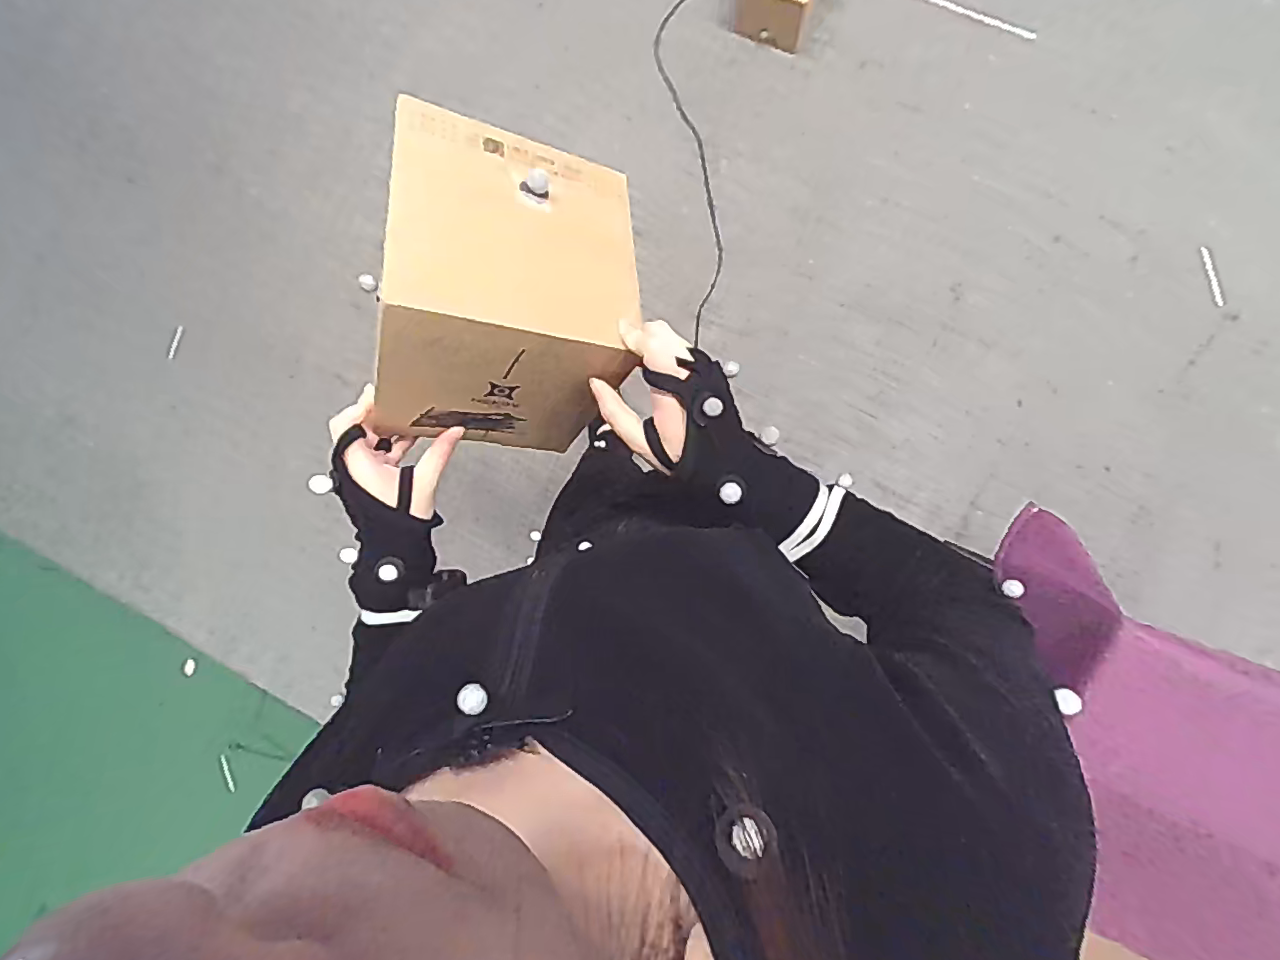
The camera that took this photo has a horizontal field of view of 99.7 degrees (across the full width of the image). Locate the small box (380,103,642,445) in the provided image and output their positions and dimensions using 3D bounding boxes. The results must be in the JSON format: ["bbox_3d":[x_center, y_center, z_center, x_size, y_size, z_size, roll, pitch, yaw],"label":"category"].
[{"bbox_3d":[-0.110,-0.147,0.442,0.168,0.179,0.176,6,67,-26],"label":"small box"}]
